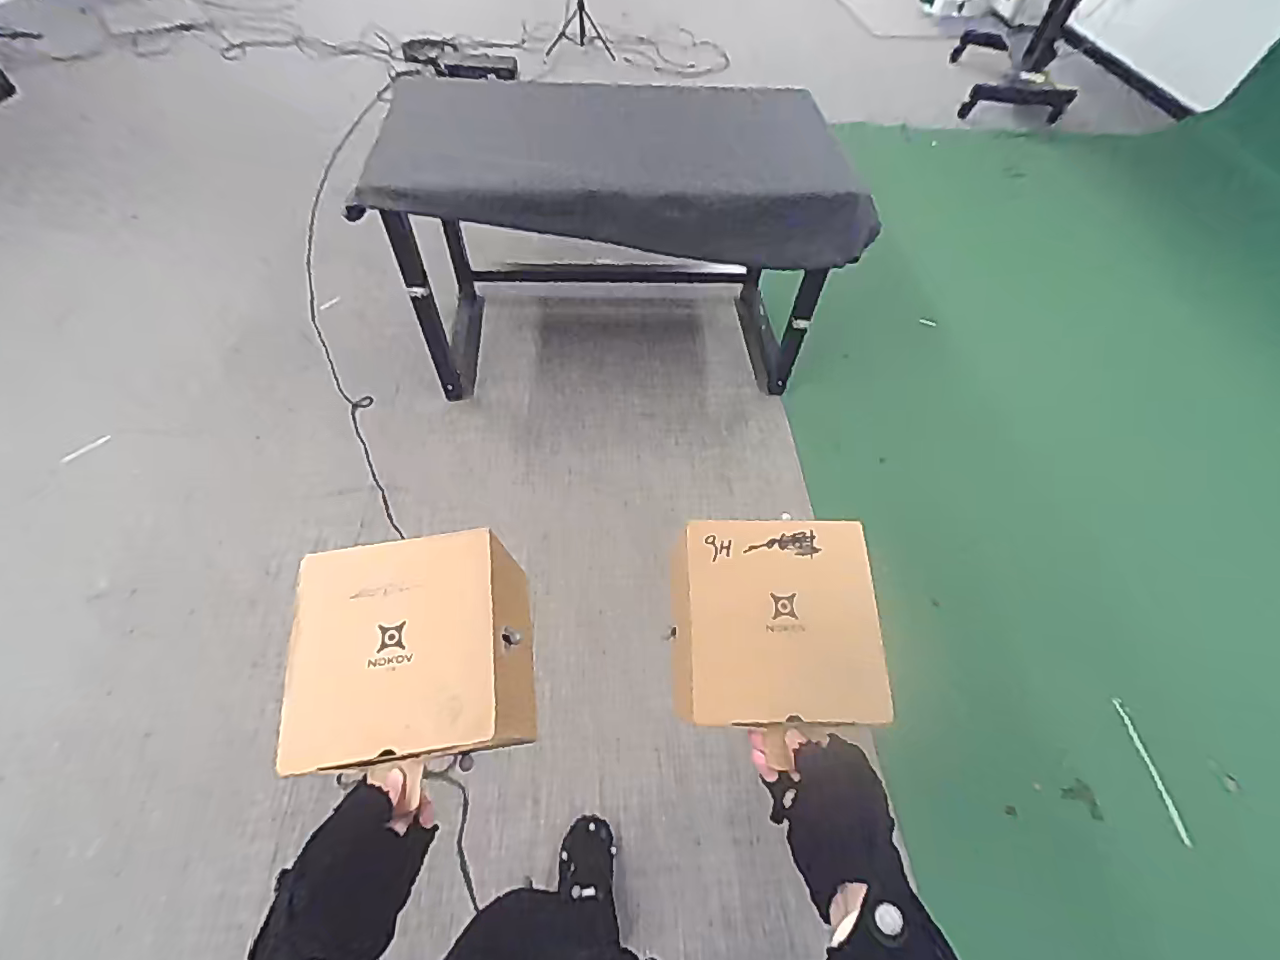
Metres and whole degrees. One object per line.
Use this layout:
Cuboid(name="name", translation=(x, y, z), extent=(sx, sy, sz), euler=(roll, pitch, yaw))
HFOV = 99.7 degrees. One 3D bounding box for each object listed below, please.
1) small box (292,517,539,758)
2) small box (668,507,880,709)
Cuboid(name="small box", translation=(-0.197, 0.155, 0.521), extent=(0.168, 0.176, 0.179), euler=(-9, 65, -4))
Cuboid(name="small box", translation=(0.119, 0.135, 0.555), extent=(0.168, 0.176, 0.179), euler=(1, 70, -3))
